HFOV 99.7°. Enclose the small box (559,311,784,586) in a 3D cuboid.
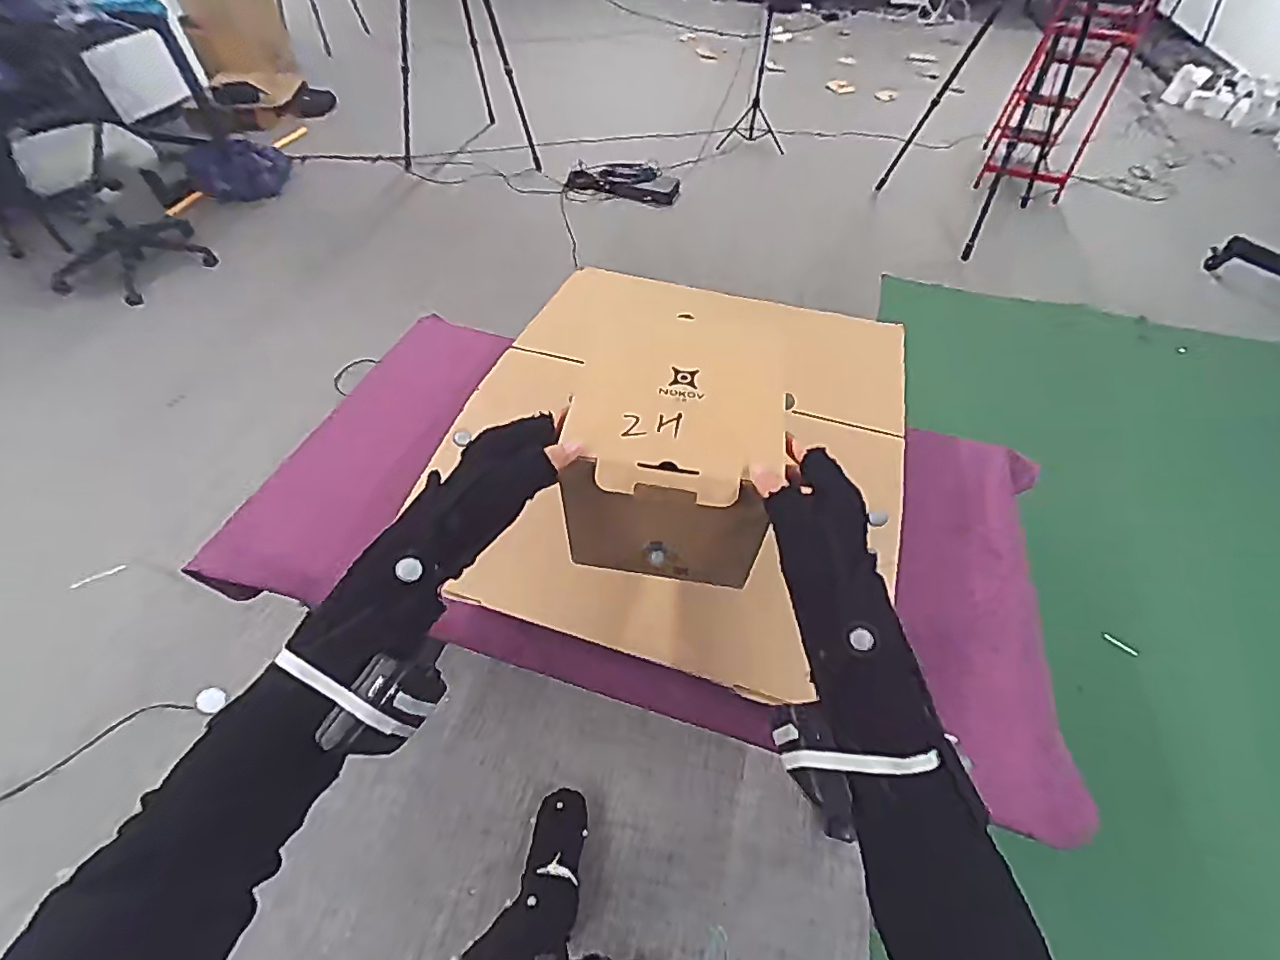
[{"bbox_3d":[0.032,-0.026,0.501,0.168,0.176,0.179,8,54,5],"label":"small box"}]
